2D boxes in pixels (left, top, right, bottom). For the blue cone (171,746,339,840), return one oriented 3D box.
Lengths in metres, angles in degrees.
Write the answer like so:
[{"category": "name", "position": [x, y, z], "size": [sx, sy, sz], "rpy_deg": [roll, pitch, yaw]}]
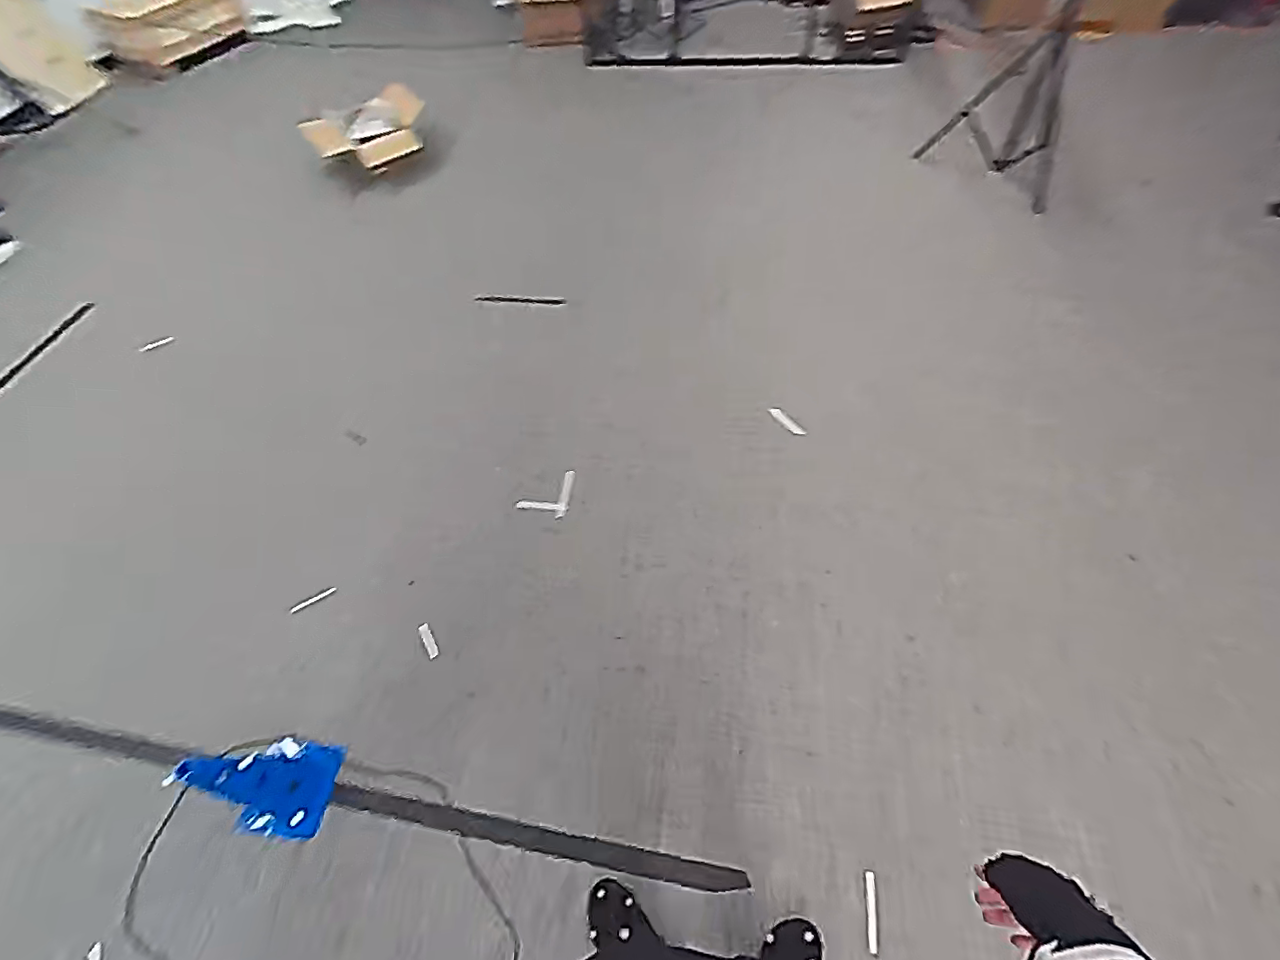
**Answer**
[{"category": "blue cone", "position": [-0.836, 0.647, 1.152], "size": [0.193, 0.380, 0.192], "rpy_deg": [2, 55, 4]}]
